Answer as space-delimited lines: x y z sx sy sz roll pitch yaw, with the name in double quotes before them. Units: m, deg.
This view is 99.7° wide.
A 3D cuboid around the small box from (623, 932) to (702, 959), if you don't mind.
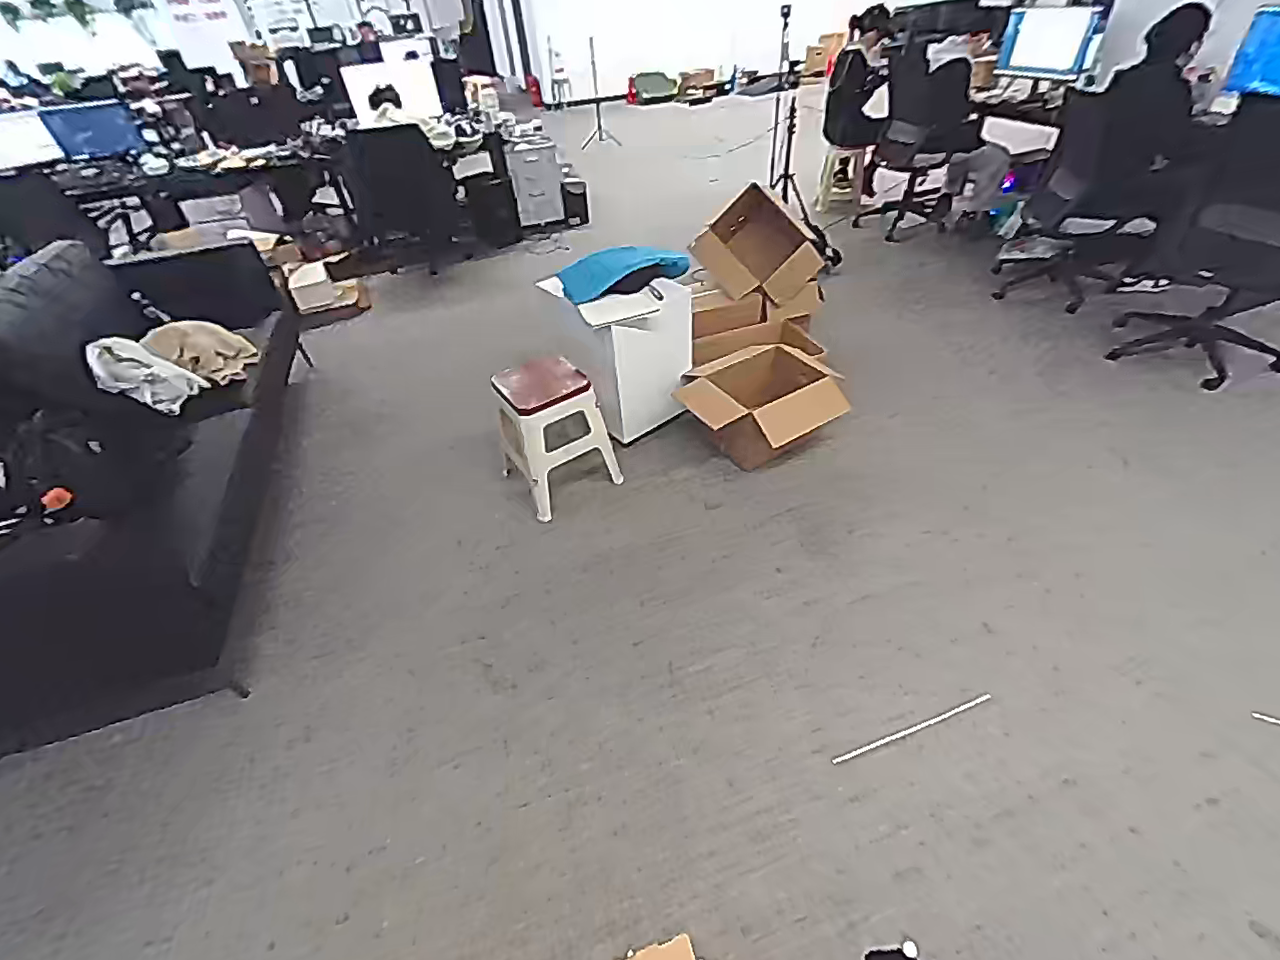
"small box" 0.055 0.989 1.002 0.168 0.176 0.179 -15 43 -9
